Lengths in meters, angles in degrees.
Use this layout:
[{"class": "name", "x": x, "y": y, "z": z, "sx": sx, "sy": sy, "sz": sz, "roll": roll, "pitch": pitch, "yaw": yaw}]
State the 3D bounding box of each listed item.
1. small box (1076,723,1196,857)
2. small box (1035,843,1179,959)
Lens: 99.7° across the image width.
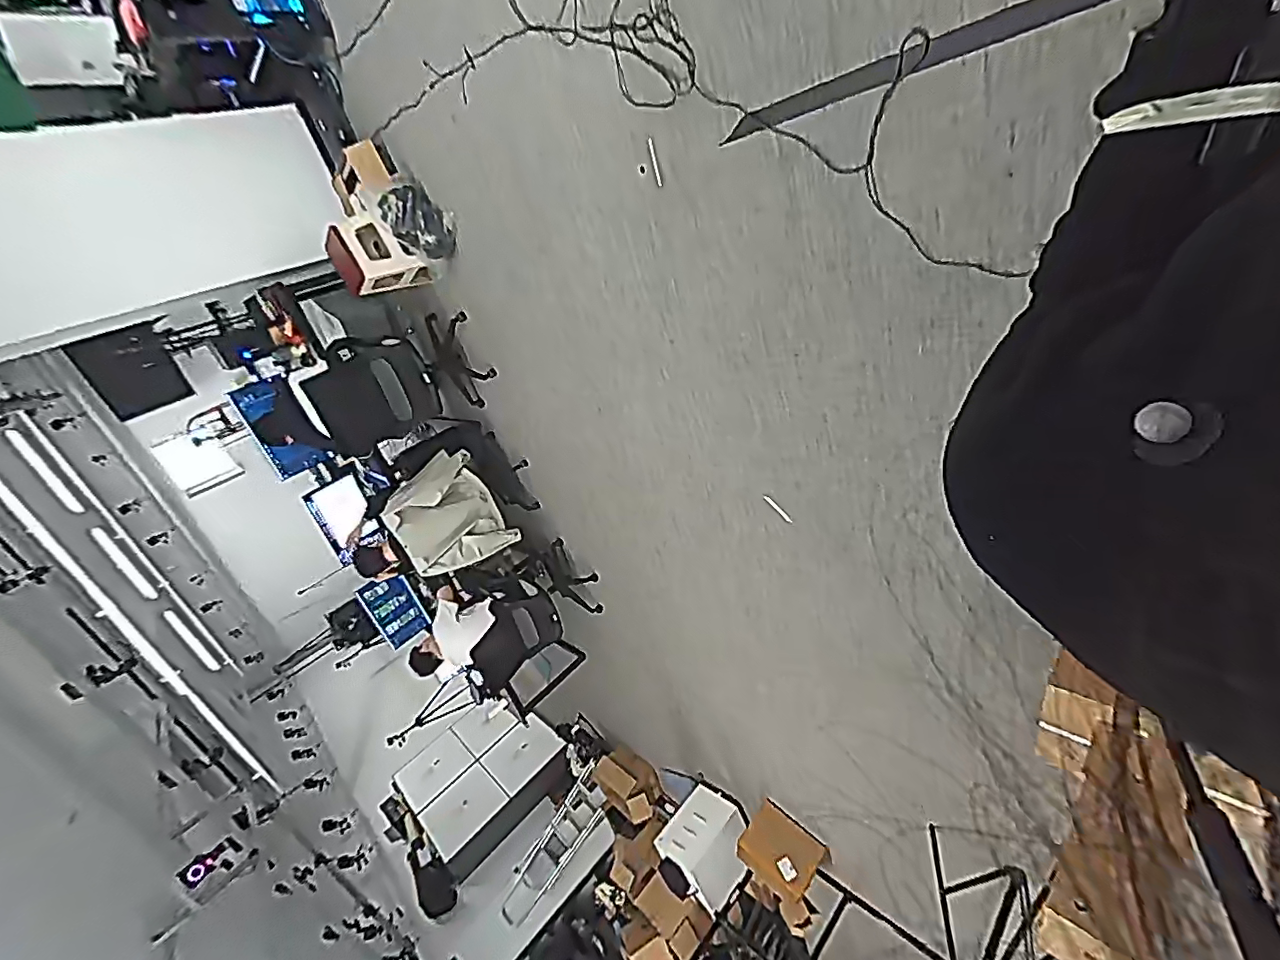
[{"class": "small box", "x": 1.140, "y": 0.701, "z": 1.245, "sx": 0.179, "sy": 0.176, "sz": 0.168, "roll": 12, "pitch": 128, "yaw": 48}, {"class": "small box", "x": 0.916, "y": 0.864, "z": 1.067, "sx": 0.179, "sy": 0.176, "sz": 0.168, "roll": 16, "pitch": 131, "yaw": 44}]
